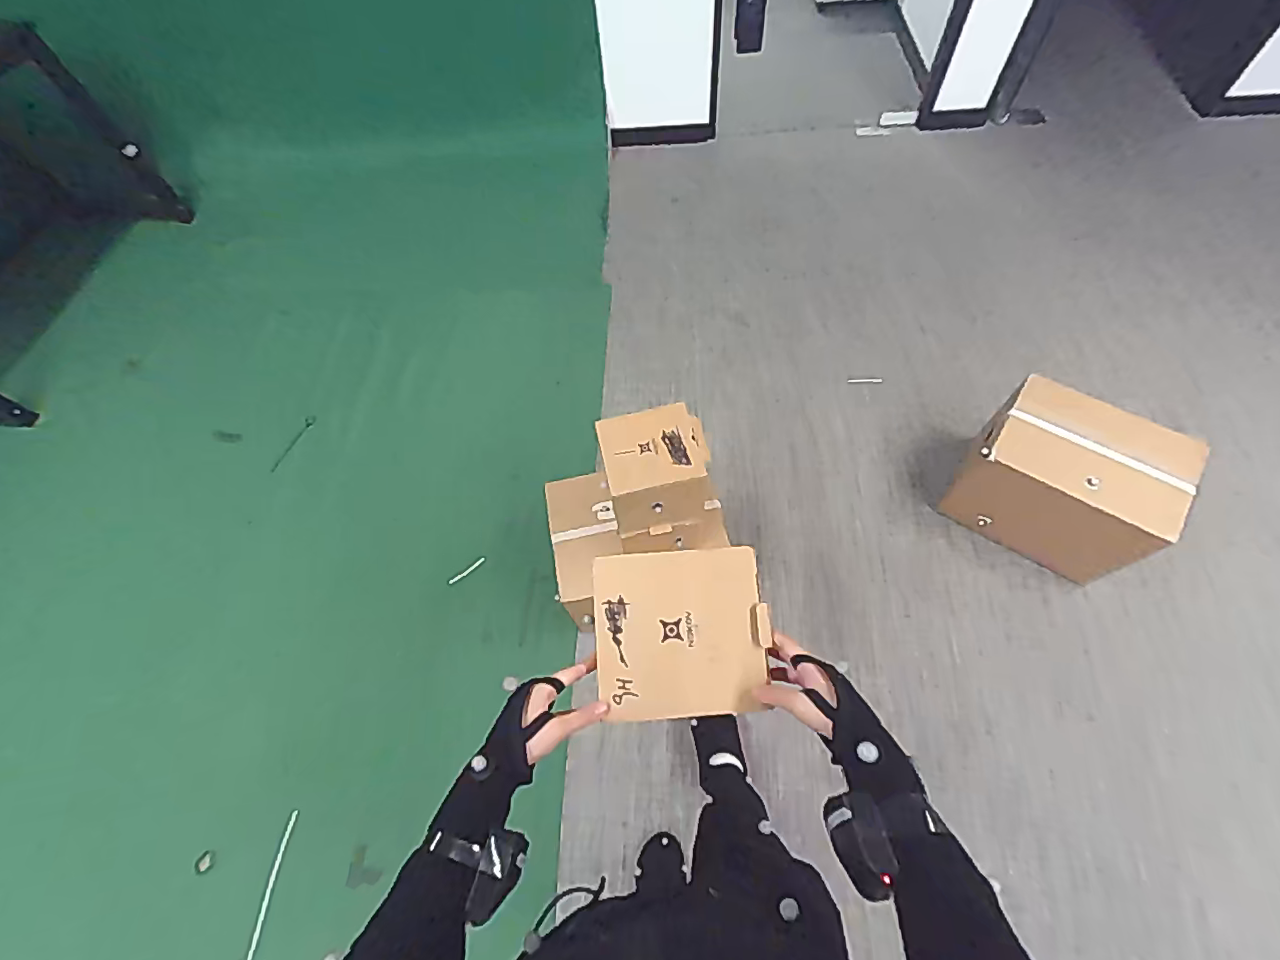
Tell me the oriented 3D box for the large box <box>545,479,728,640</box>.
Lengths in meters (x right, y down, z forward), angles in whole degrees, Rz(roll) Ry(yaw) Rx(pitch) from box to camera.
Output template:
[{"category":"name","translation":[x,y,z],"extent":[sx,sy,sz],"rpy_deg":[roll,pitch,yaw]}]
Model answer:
[{"category":"large box","translation":[0.002,0.189,1.399],"extent":[0.408,0.320,0.320],"rpy_deg":[-13,59,-1]}]

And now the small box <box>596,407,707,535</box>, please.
[{"category":"small box","translation":[0.021,-0.013,1.041],"extent":[0.179,0.176,0.168],"rpy_deg":[-13,61,-3]}]

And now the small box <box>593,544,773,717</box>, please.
[{"category":"small box","translation":[0.039,0.171,0.627],"extent":[0.179,0.176,0.168],"rpy_deg":[-4,73,-2]}]

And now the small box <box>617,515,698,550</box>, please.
[{"category":"small box","translation":[0.029,0.071,1.182],"extent":[0.168,0.176,0.179],"rpy_deg":[-11,61,-2]}]
